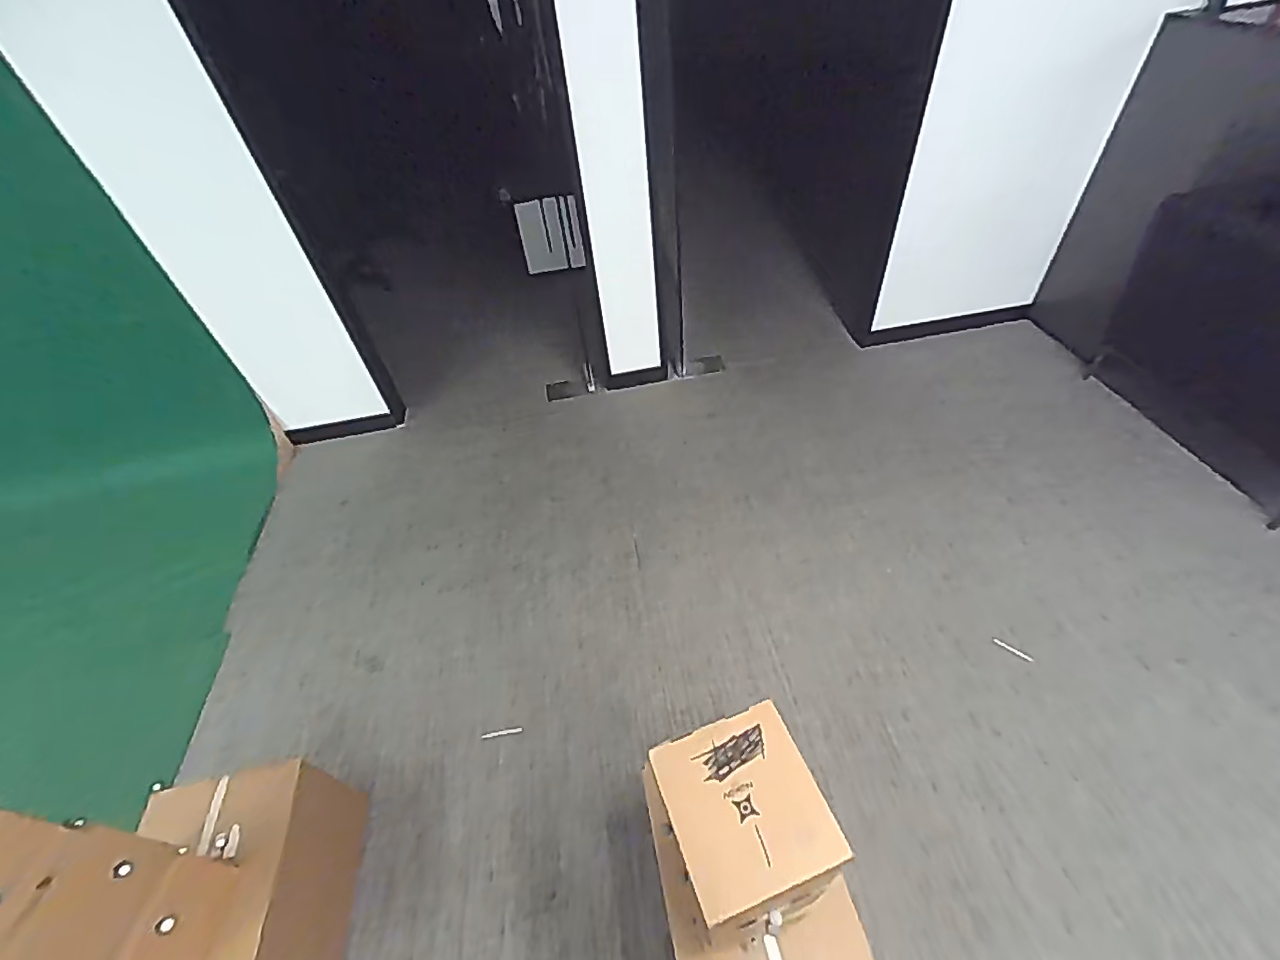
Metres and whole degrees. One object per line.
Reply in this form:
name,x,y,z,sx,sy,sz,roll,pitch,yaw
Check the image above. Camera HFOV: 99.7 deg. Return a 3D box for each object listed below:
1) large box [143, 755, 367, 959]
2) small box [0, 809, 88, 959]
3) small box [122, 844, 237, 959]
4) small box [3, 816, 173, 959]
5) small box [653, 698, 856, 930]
large box,-0.815,0.862,1.122,0.320,0.320,0.408,-11,46,-4
small box,-0.880,0.510,0.676,0.179,0.176,0.168,-1,47,8
small box,-0.834,0.734,0.911,0.168,0.176,0.179,-4,47,4
small box,-0.856,0.618,0.799,0.168,0.176,0.179,-2,48,7
small box,0.125,0.402,0.652,0.168,0.176,0.179,-19,48,-9
